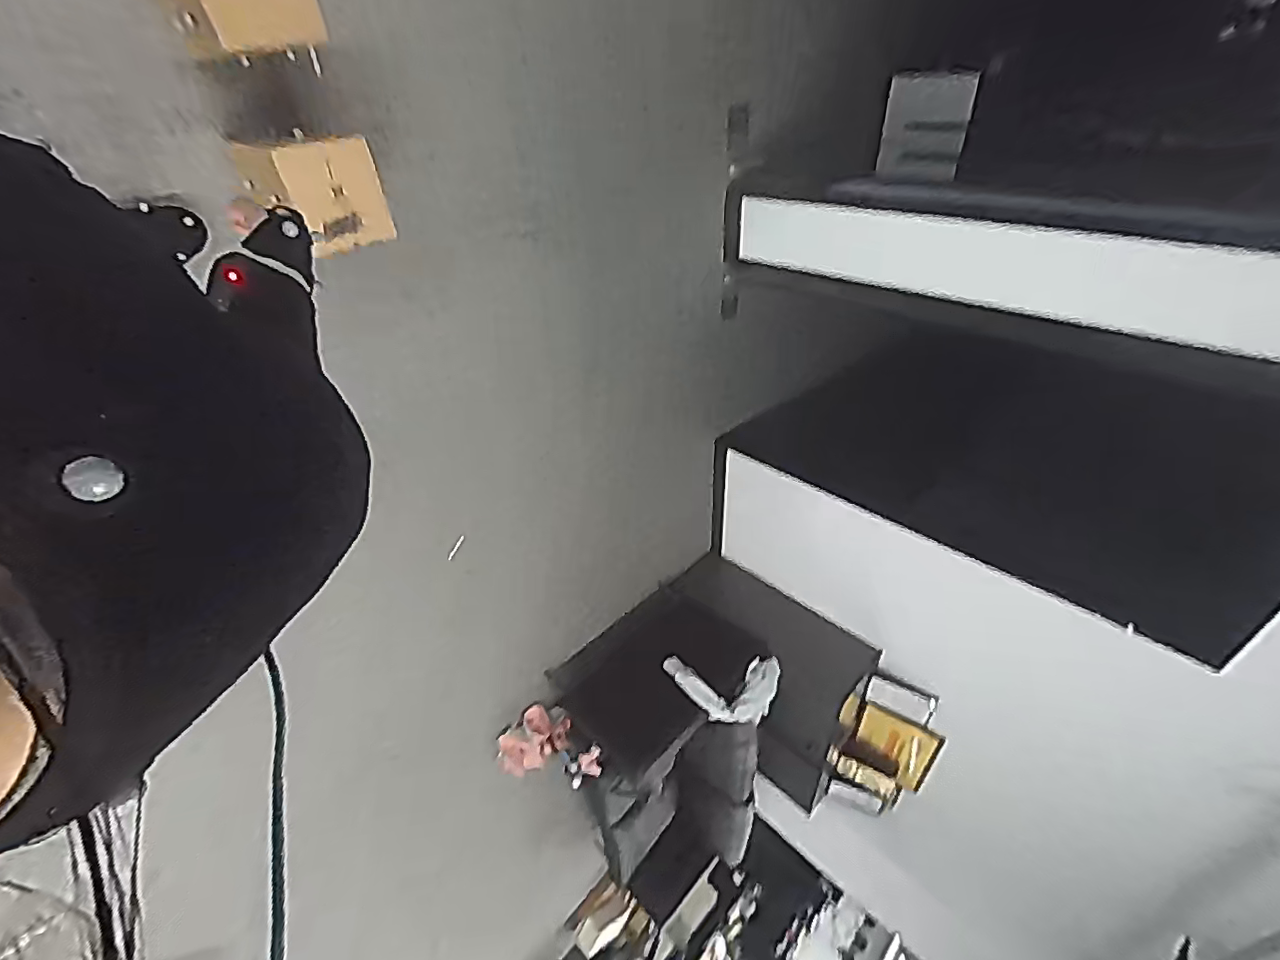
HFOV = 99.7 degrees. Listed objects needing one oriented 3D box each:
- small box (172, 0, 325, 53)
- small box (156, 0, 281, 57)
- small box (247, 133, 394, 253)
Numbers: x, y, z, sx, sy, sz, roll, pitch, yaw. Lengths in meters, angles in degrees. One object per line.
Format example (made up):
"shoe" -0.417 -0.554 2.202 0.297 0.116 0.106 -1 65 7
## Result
"small box" -0.643 -0.795 0.856 0.168 0.176 0.179 -35 135 -31
"small box" -0.750 -0.866 0.957 0.168 0.176 0.179 -35 136 -30
"small box" -0.613 -0.559 1.044 0.168 0.176 0.179 -34 135 -32
